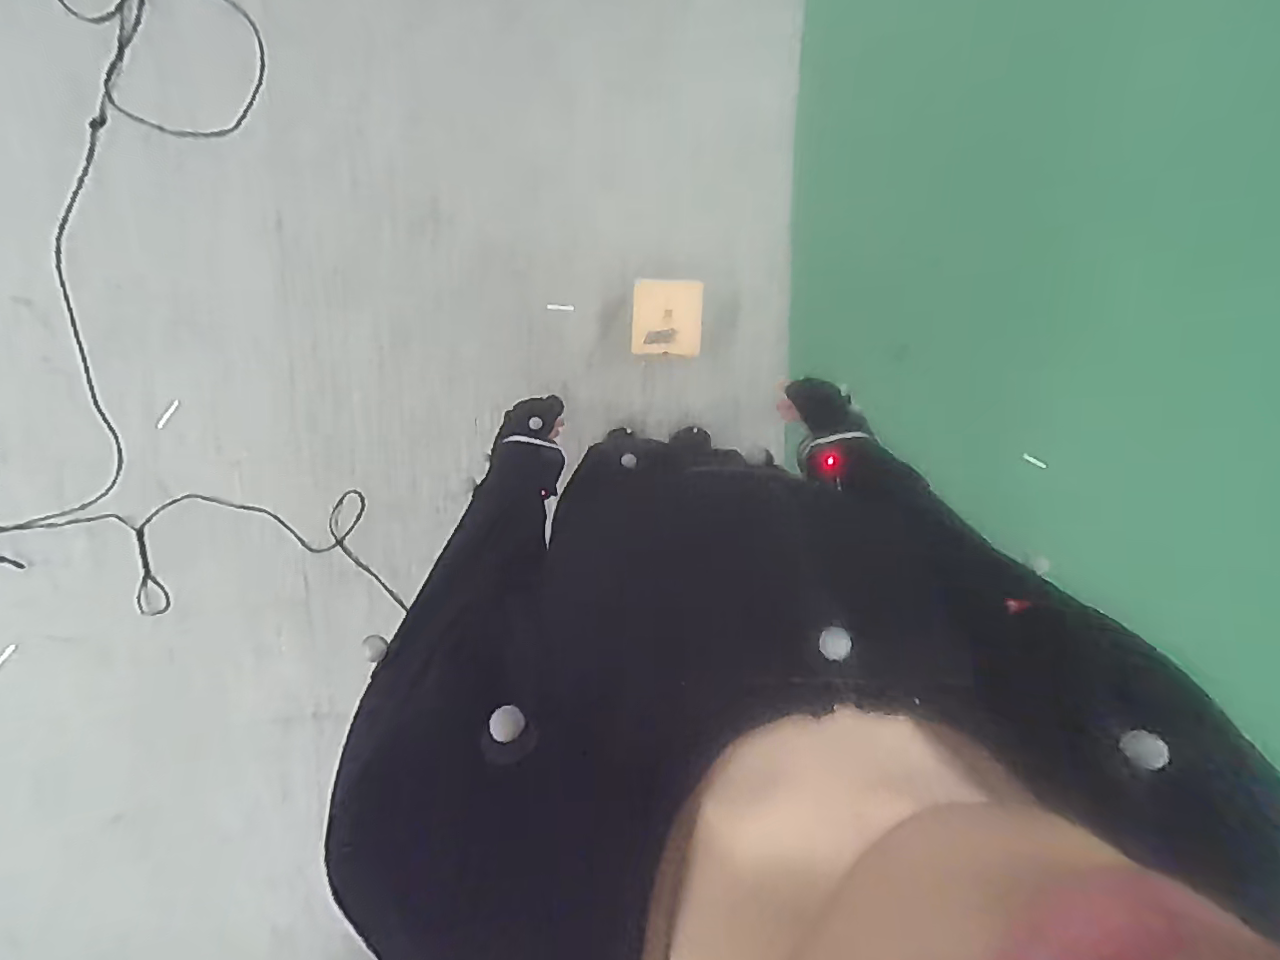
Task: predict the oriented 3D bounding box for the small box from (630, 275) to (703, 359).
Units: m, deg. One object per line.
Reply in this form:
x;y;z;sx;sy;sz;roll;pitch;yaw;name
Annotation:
0.062;-0.398;1.348;0.168;0.176;0.179;2;96;-1;small box
